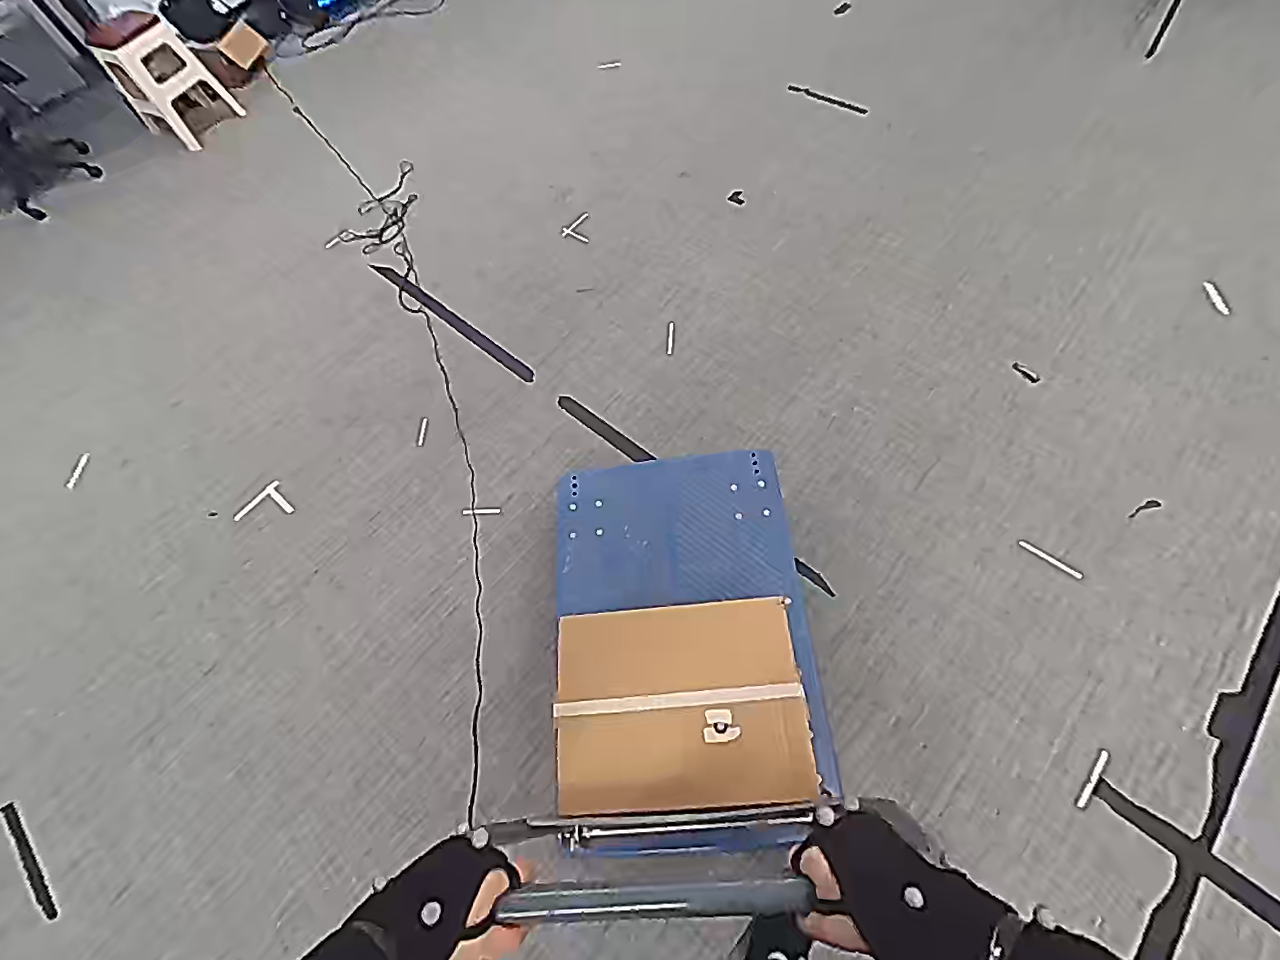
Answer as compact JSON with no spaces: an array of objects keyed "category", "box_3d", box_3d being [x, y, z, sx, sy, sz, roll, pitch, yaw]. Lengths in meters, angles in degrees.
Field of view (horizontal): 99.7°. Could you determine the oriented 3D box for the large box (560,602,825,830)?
[{"category":"large box","box_3d":[0.083,0.439,1.002,0.408,0.320,0.320,-7,62,4]}]
